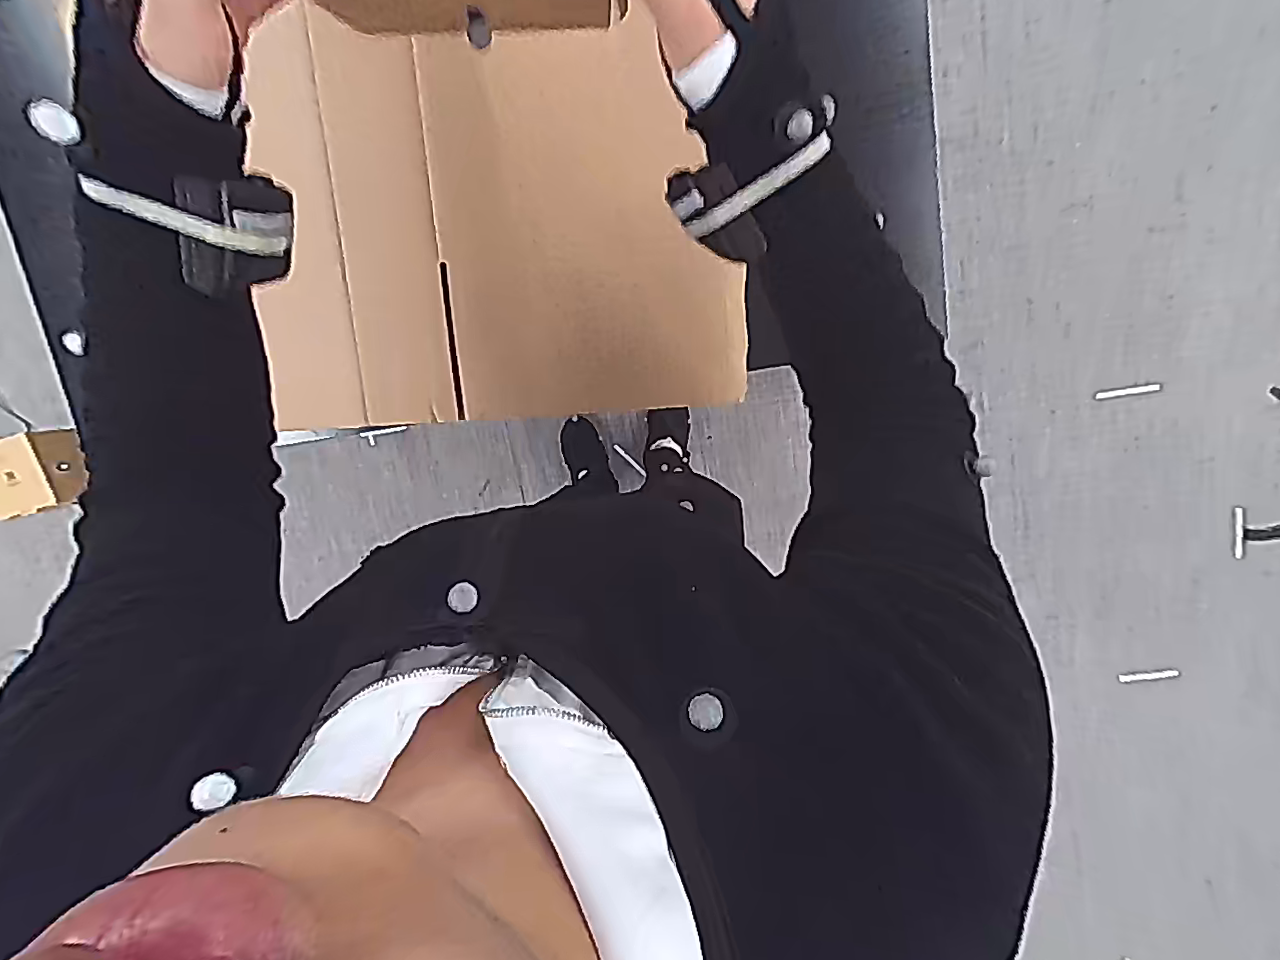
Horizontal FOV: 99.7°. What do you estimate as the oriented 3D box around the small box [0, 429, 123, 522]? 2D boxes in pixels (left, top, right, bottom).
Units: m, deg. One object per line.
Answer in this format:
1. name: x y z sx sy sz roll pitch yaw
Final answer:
1. small box: -1.434 -0.017 1.318 0.168 0.176 0.179 -15 98 5
